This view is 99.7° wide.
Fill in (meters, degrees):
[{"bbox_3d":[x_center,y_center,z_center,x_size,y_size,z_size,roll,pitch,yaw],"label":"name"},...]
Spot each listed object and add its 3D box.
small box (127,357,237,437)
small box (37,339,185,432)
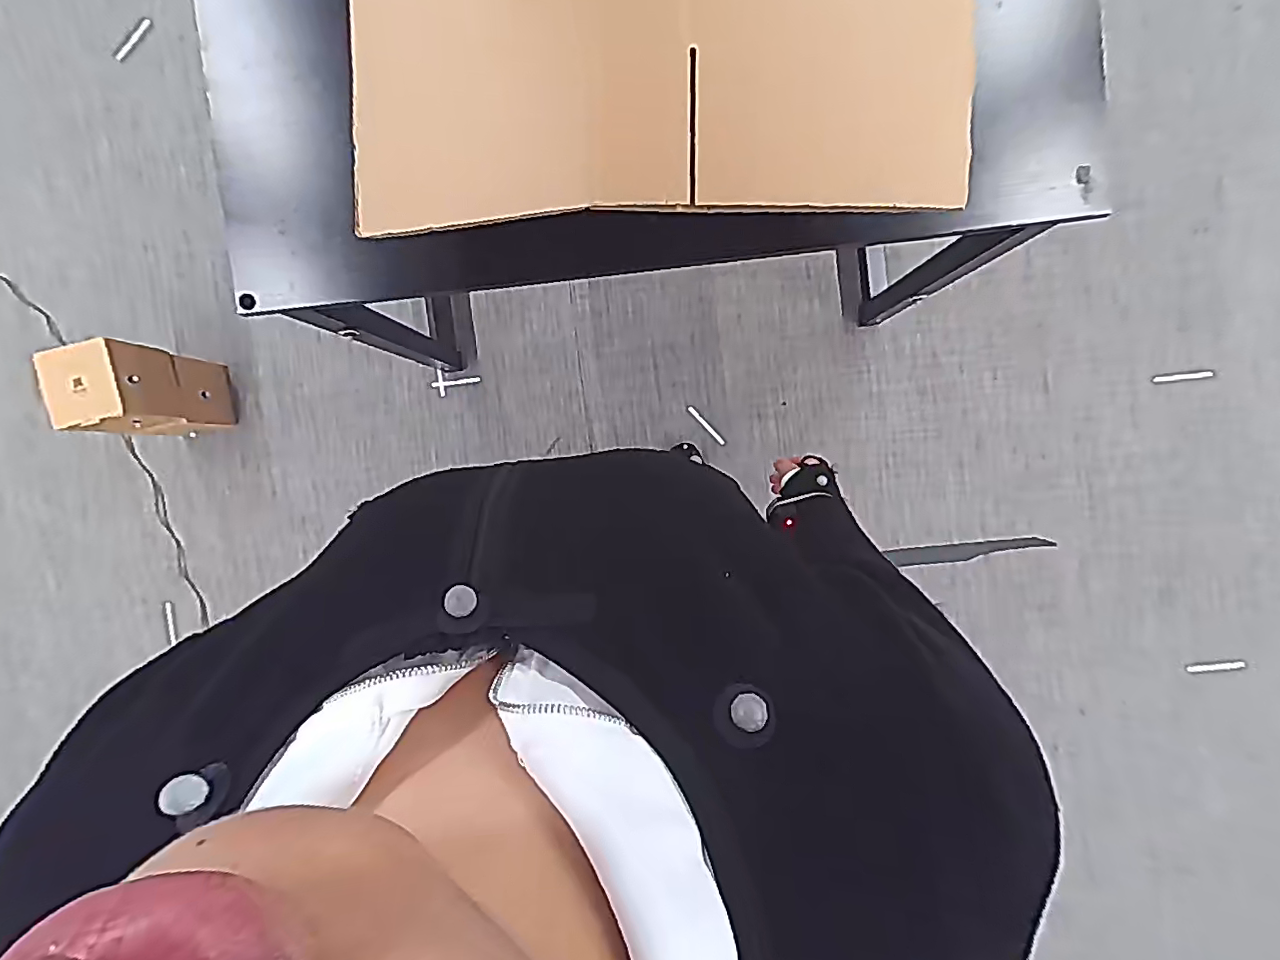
[{"bbox_3d":[-1.218,-0.214,1.429,0.168,0.176,0.179,-10,93,2],"label":"small box"},{"bbox_3d":[-1.224,-0.212,1.267,0.168,0.176,0.179,-13,91,1],"label":"small box"}]
